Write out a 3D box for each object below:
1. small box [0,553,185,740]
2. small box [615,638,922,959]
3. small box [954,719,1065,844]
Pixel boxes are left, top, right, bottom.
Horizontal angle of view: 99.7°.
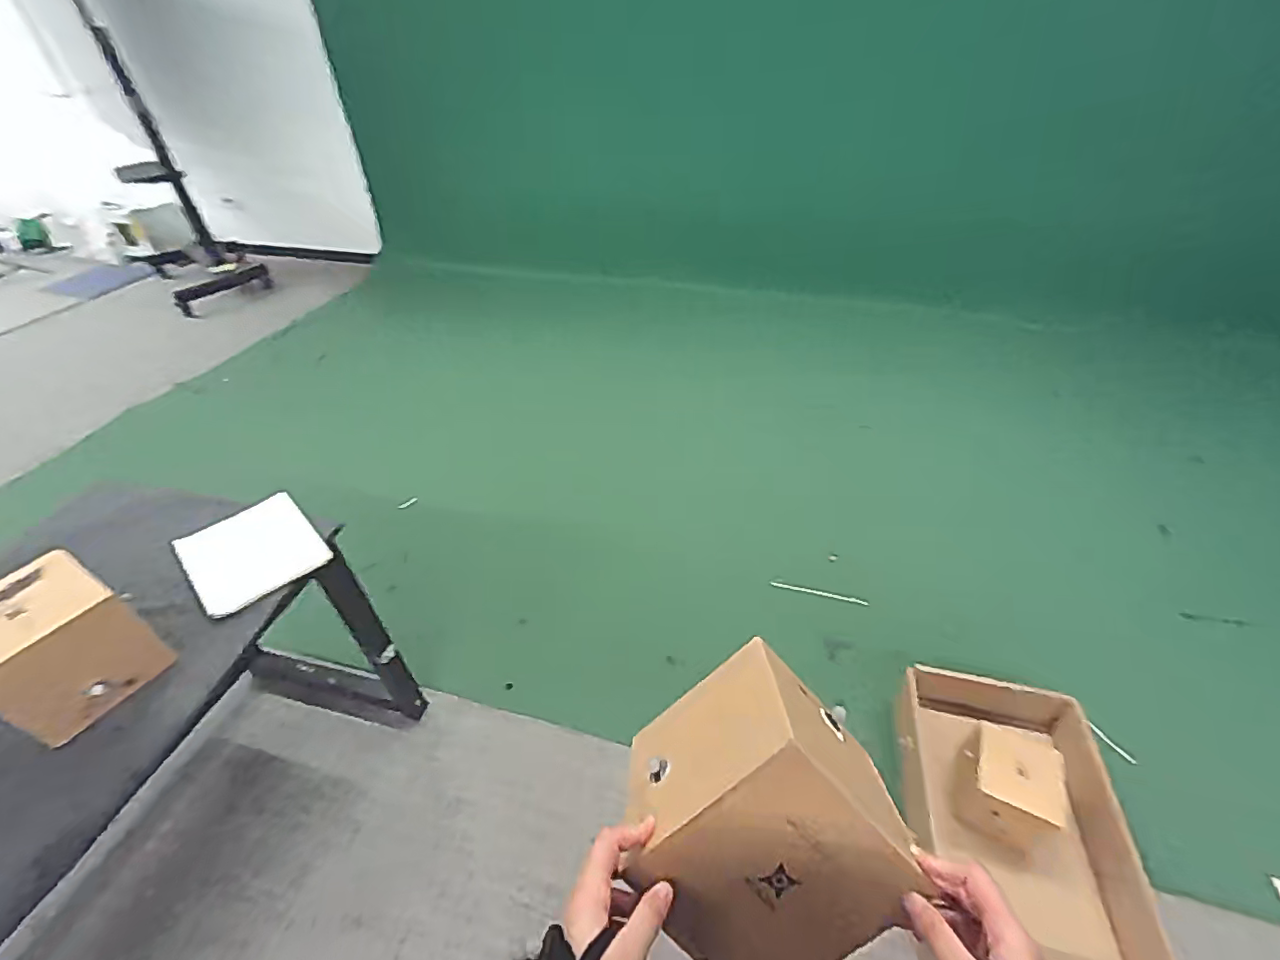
[{"bbox_3d":[-0.837,0.244,0.795,0.179,0.176,0.168,21,46,24],"label":"small box"},{"bbox_3d":[0.100,0.282,0.488,0.179,0.168,0.176,-44,6,8],"label":"small box"},{"bbox_3d":[0.855,0.706,1.263,0.168,0.176,0.179,18,45,20],"label":"small box"}]
